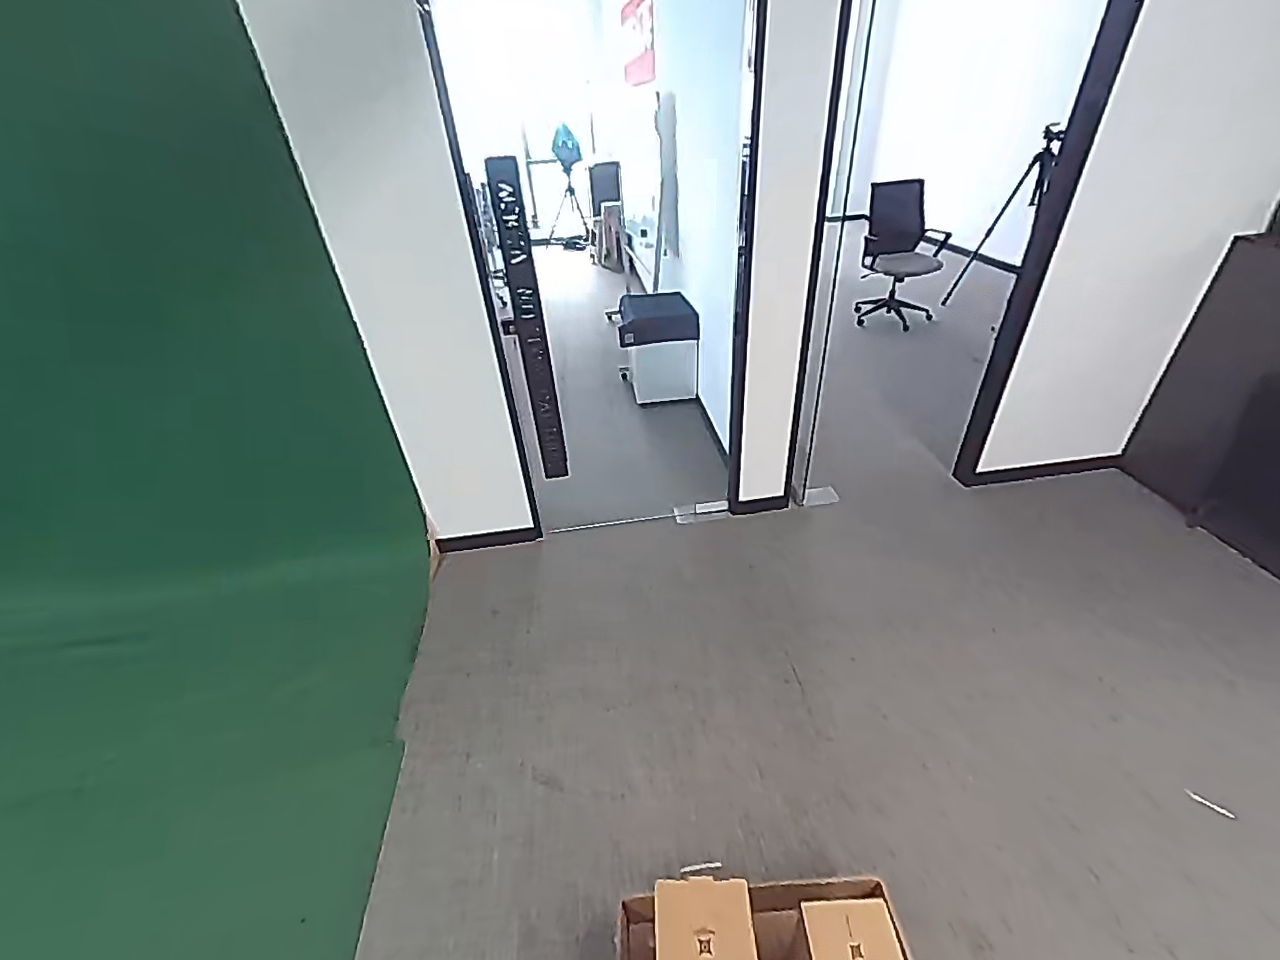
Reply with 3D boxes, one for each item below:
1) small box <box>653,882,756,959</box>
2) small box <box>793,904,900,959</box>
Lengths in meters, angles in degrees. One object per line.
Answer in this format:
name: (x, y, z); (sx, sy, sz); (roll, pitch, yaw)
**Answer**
small box: (0.104, 0.821, 0.919); (0.168, 0.176, 0.179); (-1, 33, 1)
small box: (0.393, 0.935, 1.015); (0.168, 0.176, 0.179); (-4, 33, 2)
